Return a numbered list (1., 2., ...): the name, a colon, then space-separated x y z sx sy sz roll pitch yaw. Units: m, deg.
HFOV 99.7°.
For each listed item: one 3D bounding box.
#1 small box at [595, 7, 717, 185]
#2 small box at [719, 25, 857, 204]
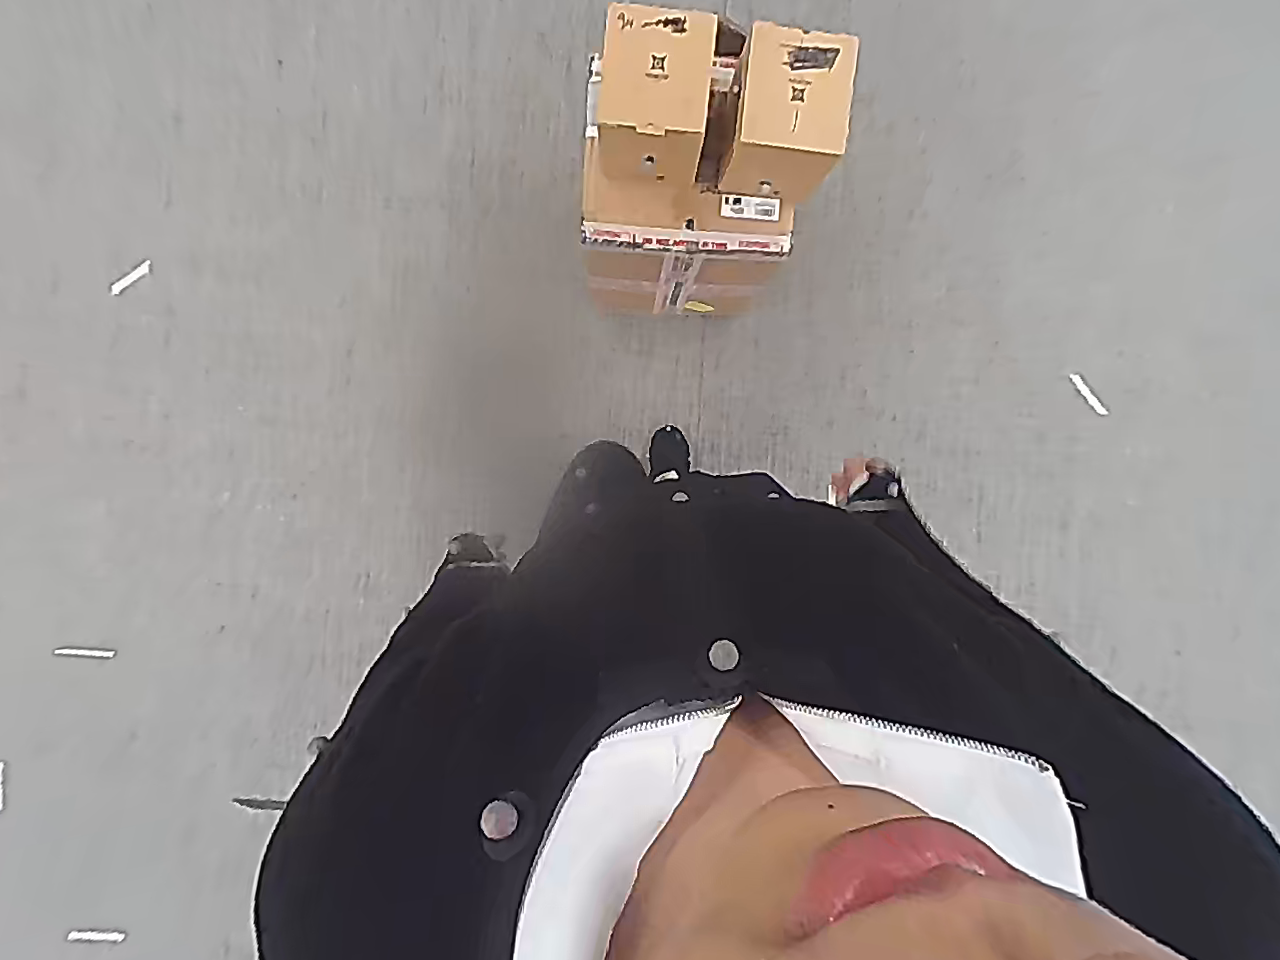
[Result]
1. small box: 0.025 -0.611 0.885 0.168 0.176 0.179 7 95 0
2. small box: 0.233 -0.589 0.894 0.168 0.176 0.179 6 95 -4
